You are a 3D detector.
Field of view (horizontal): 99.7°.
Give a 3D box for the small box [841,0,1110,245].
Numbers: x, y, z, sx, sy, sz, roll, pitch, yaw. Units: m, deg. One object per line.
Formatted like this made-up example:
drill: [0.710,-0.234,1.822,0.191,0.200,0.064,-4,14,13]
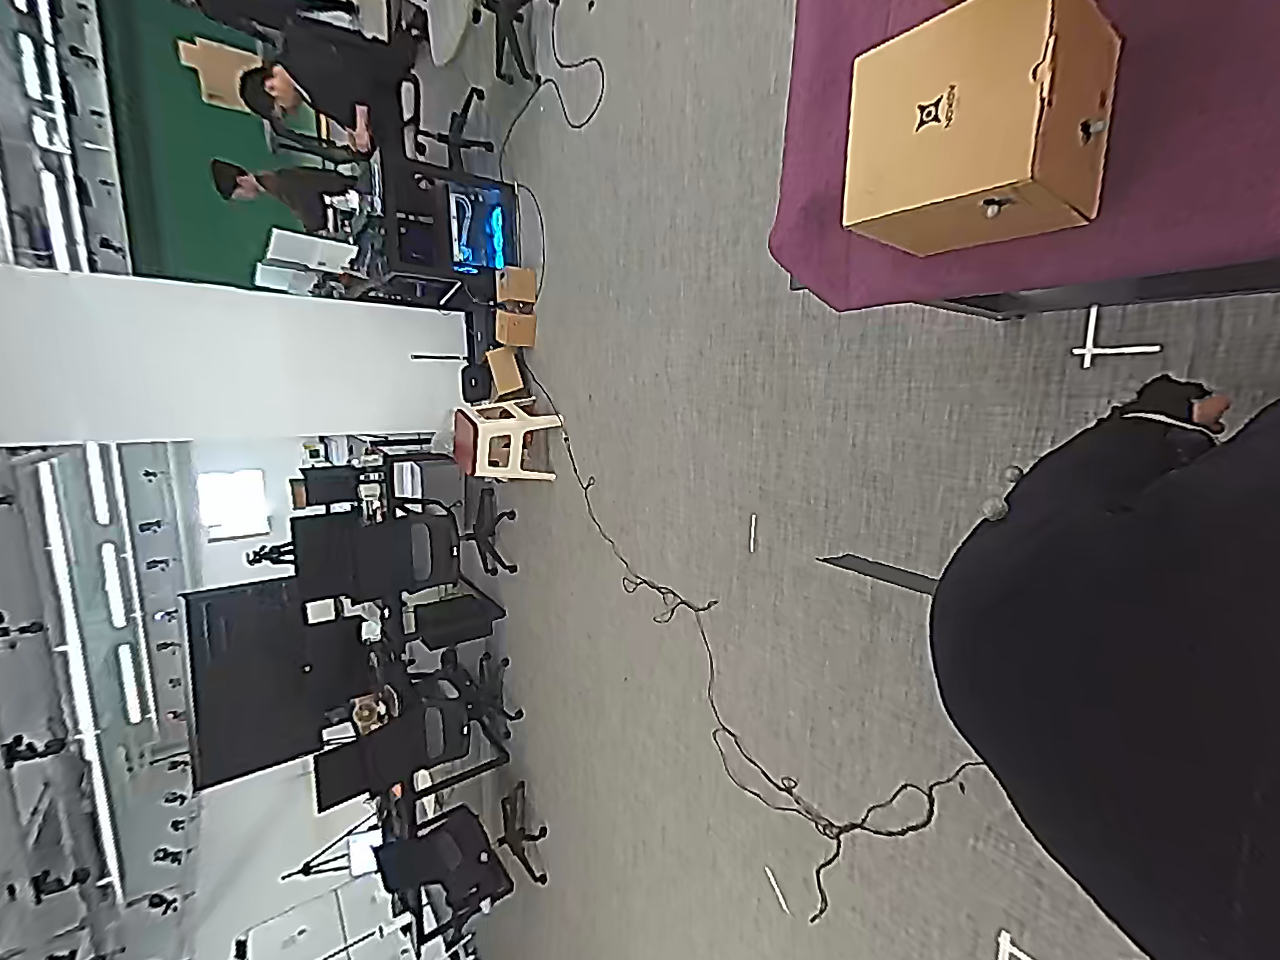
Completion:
small box: [0.334,-0.353,0.550,0.179,0.176,0.168,12,104,52]
